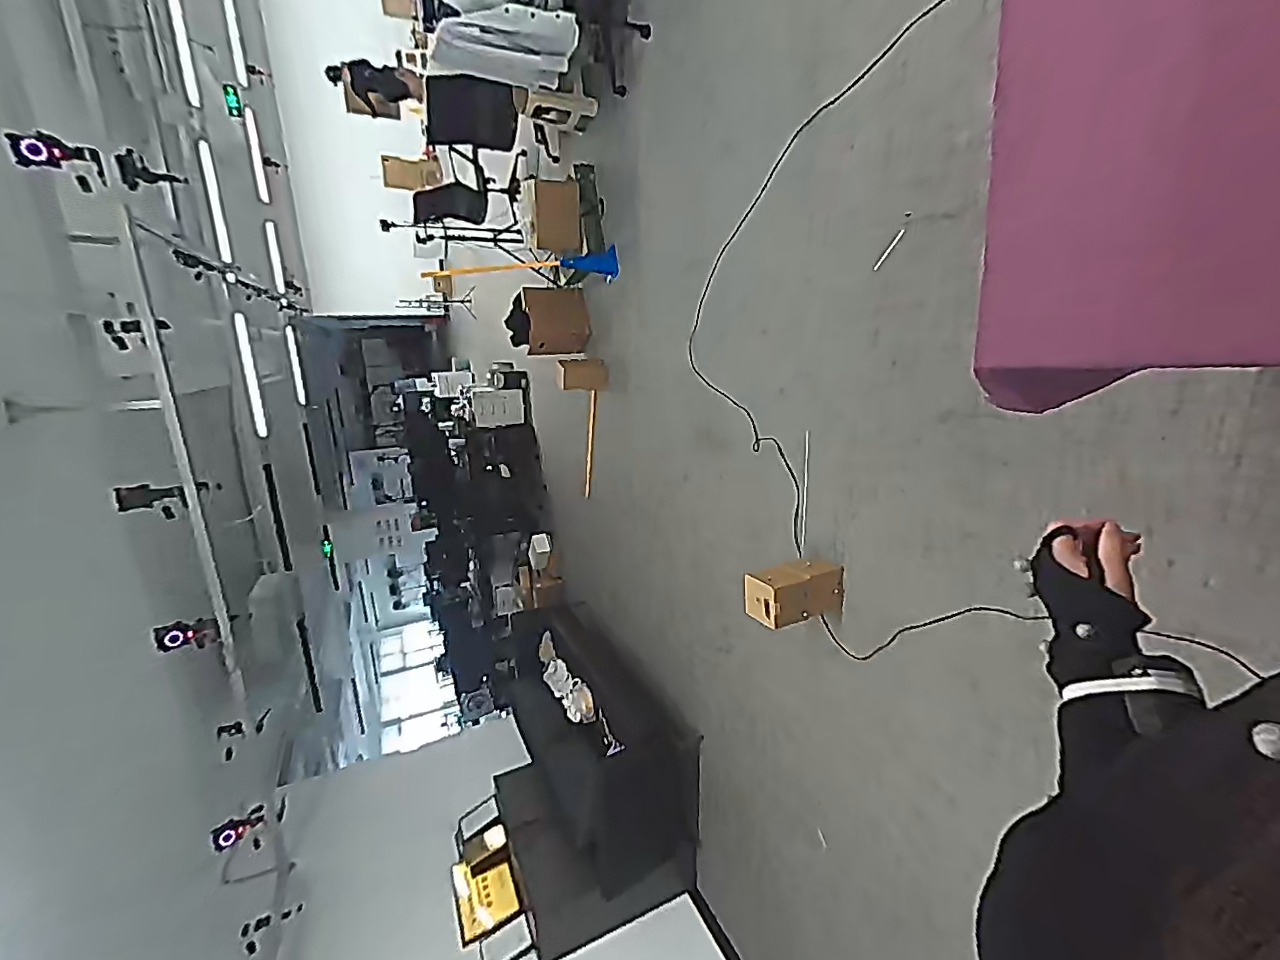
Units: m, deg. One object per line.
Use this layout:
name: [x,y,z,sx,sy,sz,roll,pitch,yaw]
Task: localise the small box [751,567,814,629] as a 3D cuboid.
small box: [0.544,0.442,2.055,0.179,0.176,0.168,-159,64,-64]
